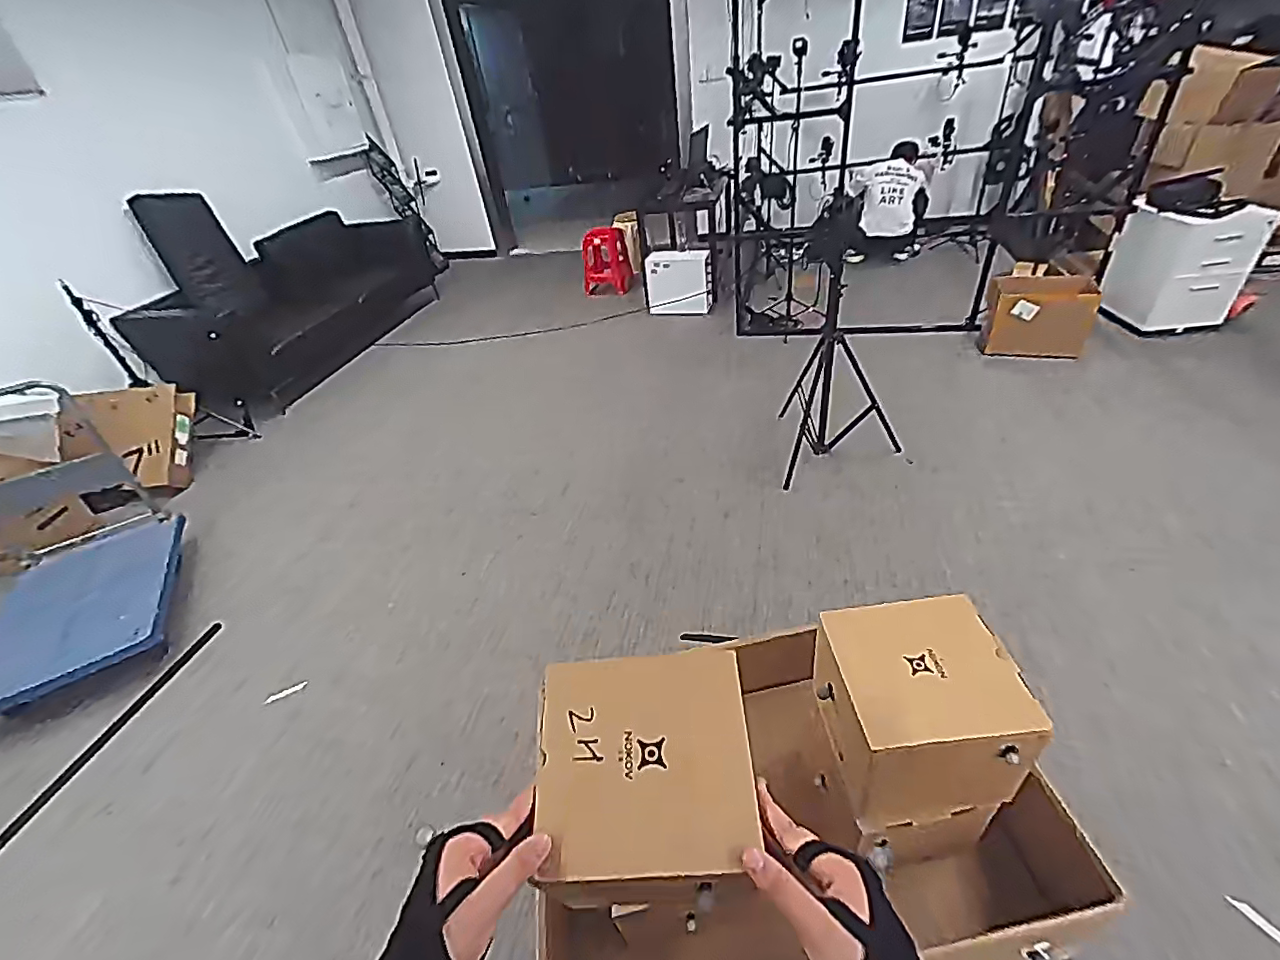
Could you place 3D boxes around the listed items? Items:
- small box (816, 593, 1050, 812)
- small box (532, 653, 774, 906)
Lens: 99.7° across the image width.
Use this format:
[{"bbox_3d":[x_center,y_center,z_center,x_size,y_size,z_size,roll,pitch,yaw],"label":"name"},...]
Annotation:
[{"bbox_3d":[0.313,0.258,0.624,0.179,0.176,0.168,-9,38,2],"label":"small box"},{"bbox_3d":[0.017,0.276,0.495,0.179,0.176,0.168,-6,46,5],"label":"small box"}]
